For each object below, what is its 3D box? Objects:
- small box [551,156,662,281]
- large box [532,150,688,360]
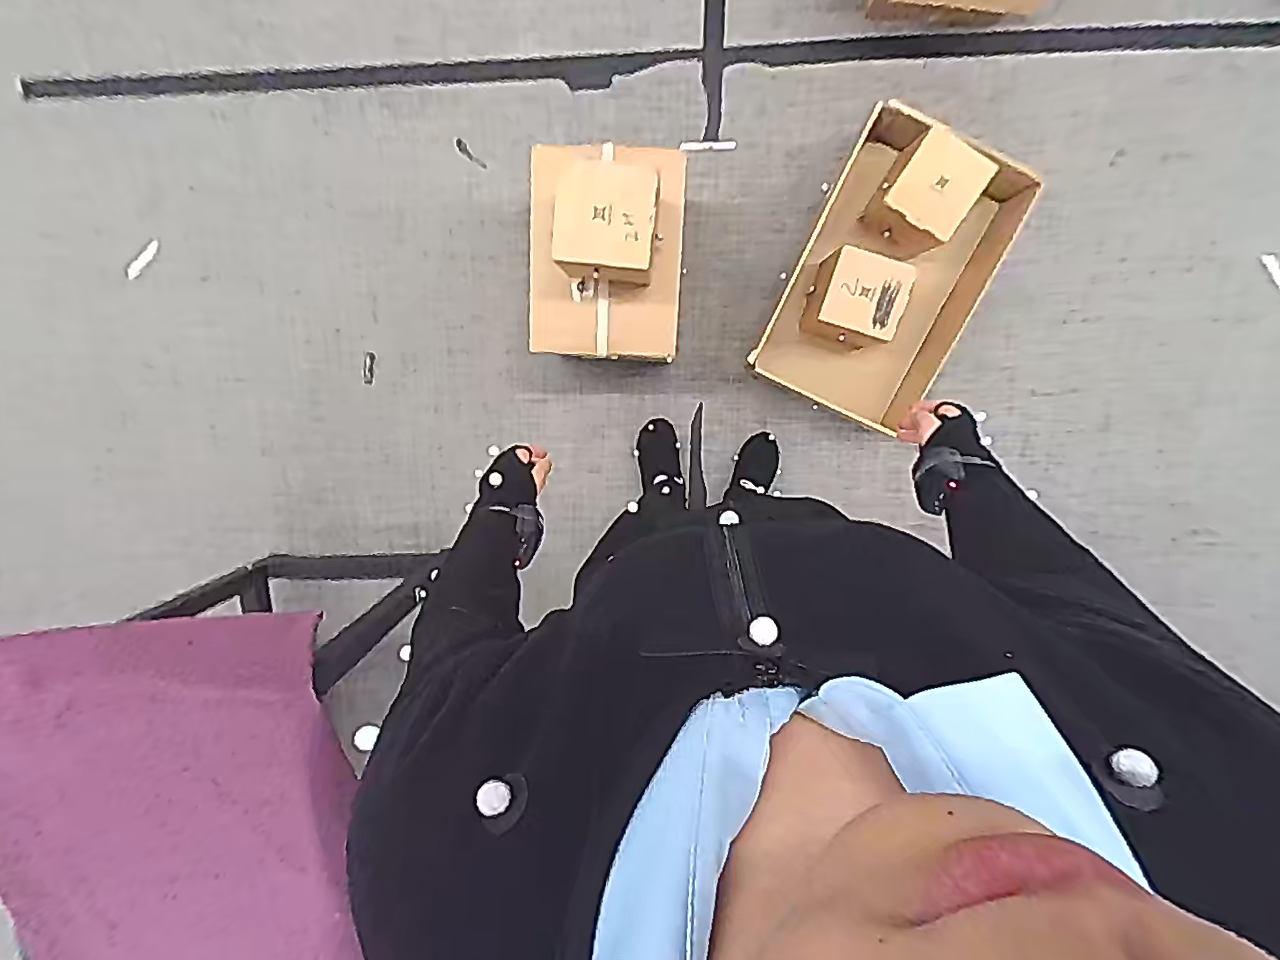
[{"bbox_3d":[-0.056,-0.470,0.997,0.179,0.176,0.168,7,102,1],"label":"small box"},{"bbox_3d":[-0.057,-0.487,1.246,0.320,0.320,0.408,3,102,4],"label":"large box"}]
